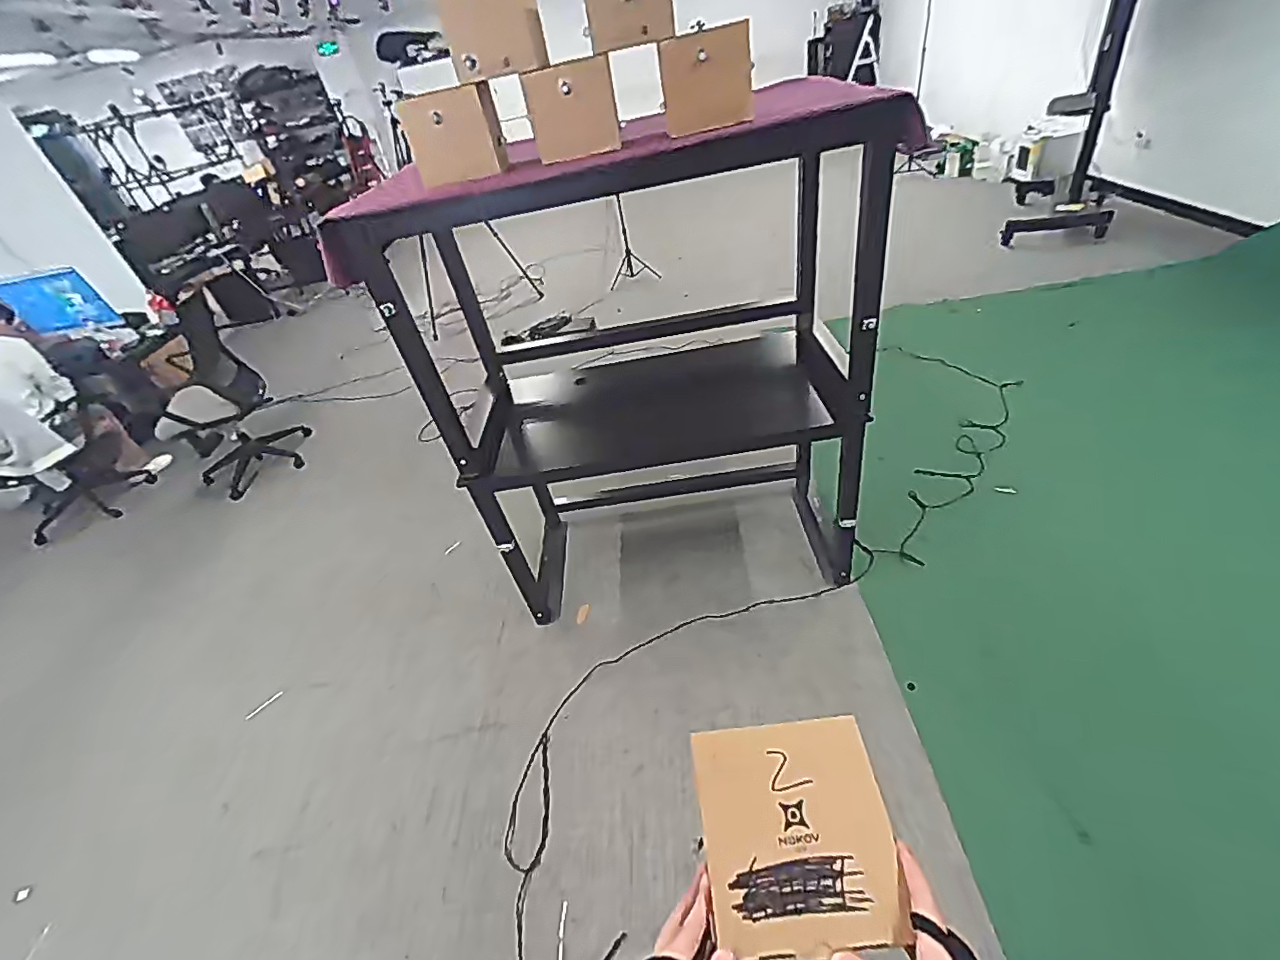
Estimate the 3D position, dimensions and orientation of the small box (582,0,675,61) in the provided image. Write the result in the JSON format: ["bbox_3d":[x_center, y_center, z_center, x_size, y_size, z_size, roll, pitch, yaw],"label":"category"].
[{"bbox_3d":[-0.026,-0.943,1.059,0.168,0.176,0.179,-9,39,5],"label":"small box"}]

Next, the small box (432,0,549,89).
[{"bbox_3d":[-0.291,-0.903,1.086,0.168,0.176,0.179,-7,38,7],"label":"small box"}]

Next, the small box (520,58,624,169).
[{"bbox_3d":[-0.138,-0.788,1.166,0.179,0.176,0.168,-9,39,6],"label":"small box"}]

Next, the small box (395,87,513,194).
[{"bbox_3d":[-0.402,-0.753,1.198,0.179,0.176,0.168,-10,40,4],"label":"small box"}]

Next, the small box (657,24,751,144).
[{"bbox_3d":[0.136,-0.834,1.141,0.179,0.176,0.168,-10,38,7],"label":"small box"}]
